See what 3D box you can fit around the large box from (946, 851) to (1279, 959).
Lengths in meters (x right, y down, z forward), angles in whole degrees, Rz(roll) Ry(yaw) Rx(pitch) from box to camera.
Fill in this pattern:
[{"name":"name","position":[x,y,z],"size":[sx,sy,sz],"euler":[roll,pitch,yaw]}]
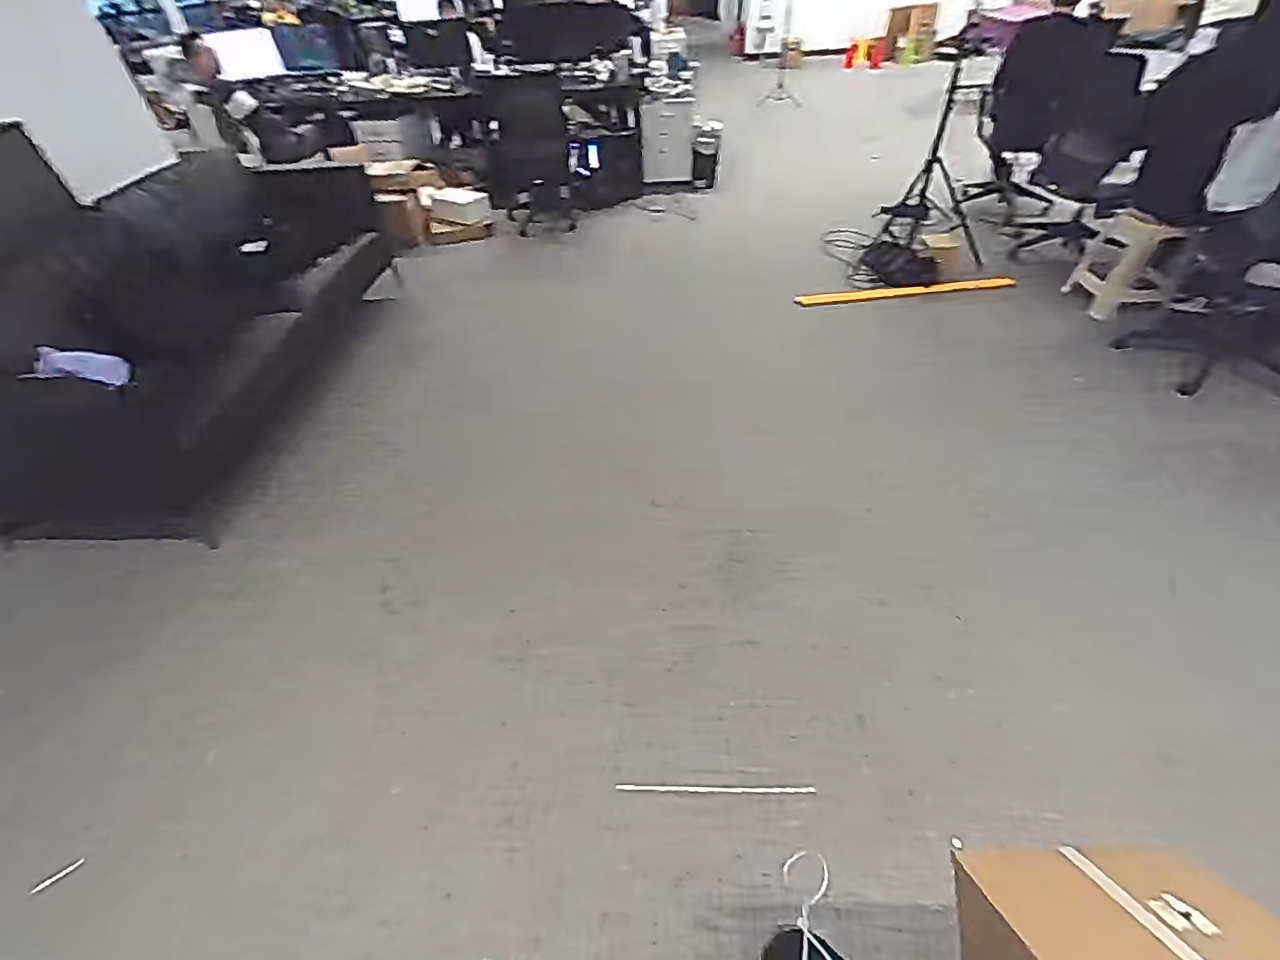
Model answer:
[{"name":"large box","position":[0.601,0.688,0.587],"size":[0.320,0.408,0.320],"euler":[-2,86,4]}]
